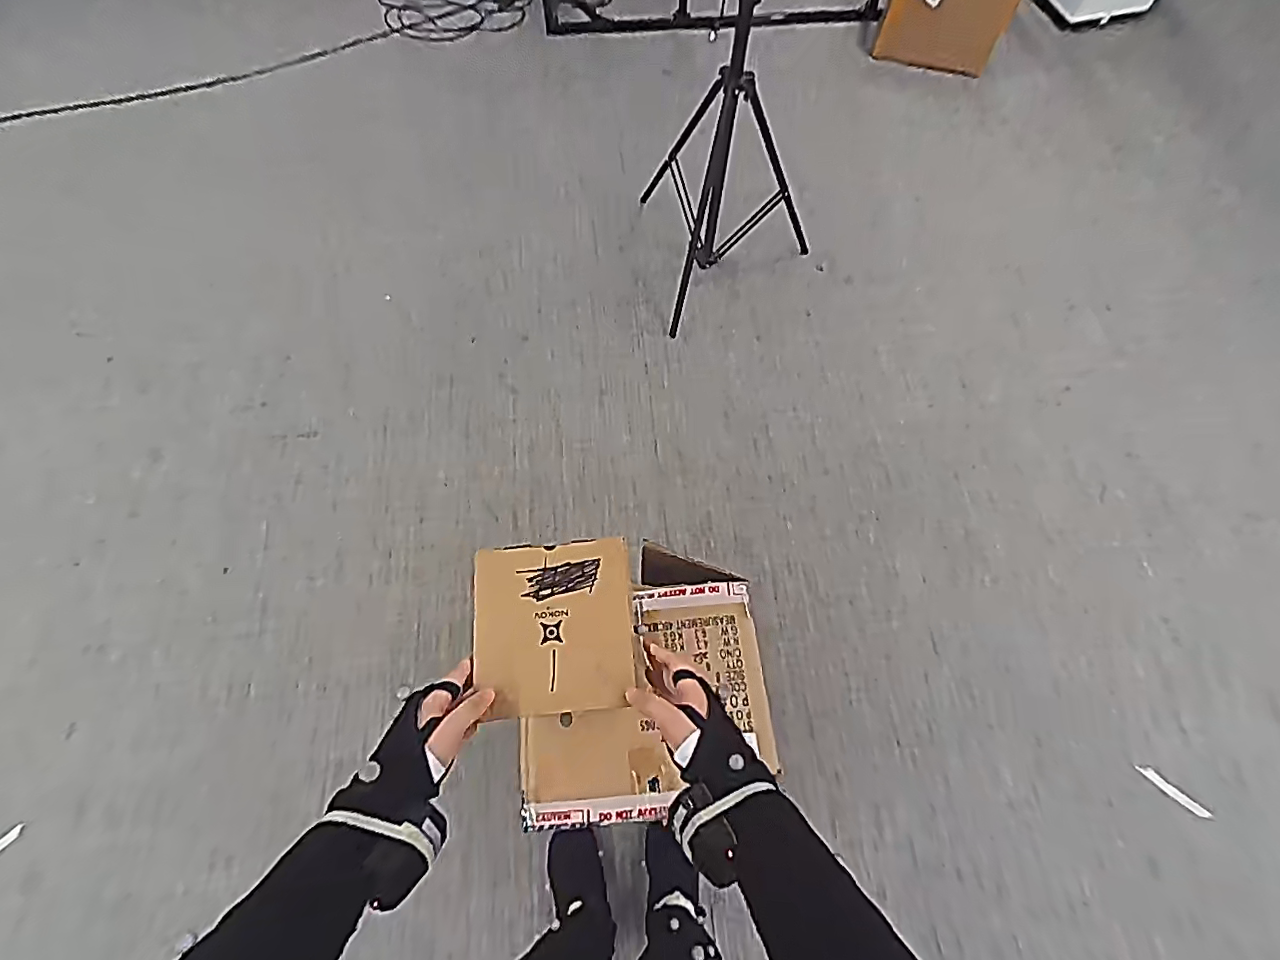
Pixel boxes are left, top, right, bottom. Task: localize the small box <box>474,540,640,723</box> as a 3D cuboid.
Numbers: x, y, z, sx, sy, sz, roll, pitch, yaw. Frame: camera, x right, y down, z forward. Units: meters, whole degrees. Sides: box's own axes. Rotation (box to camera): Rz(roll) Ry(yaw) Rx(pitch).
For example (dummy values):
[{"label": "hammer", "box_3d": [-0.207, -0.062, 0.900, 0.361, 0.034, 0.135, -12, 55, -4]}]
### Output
[{"label": "small box", "box_3d": [-0.088, 0.181, 0.637, 0.168, 0.176, 0.179, -6, 69, -1]}]
